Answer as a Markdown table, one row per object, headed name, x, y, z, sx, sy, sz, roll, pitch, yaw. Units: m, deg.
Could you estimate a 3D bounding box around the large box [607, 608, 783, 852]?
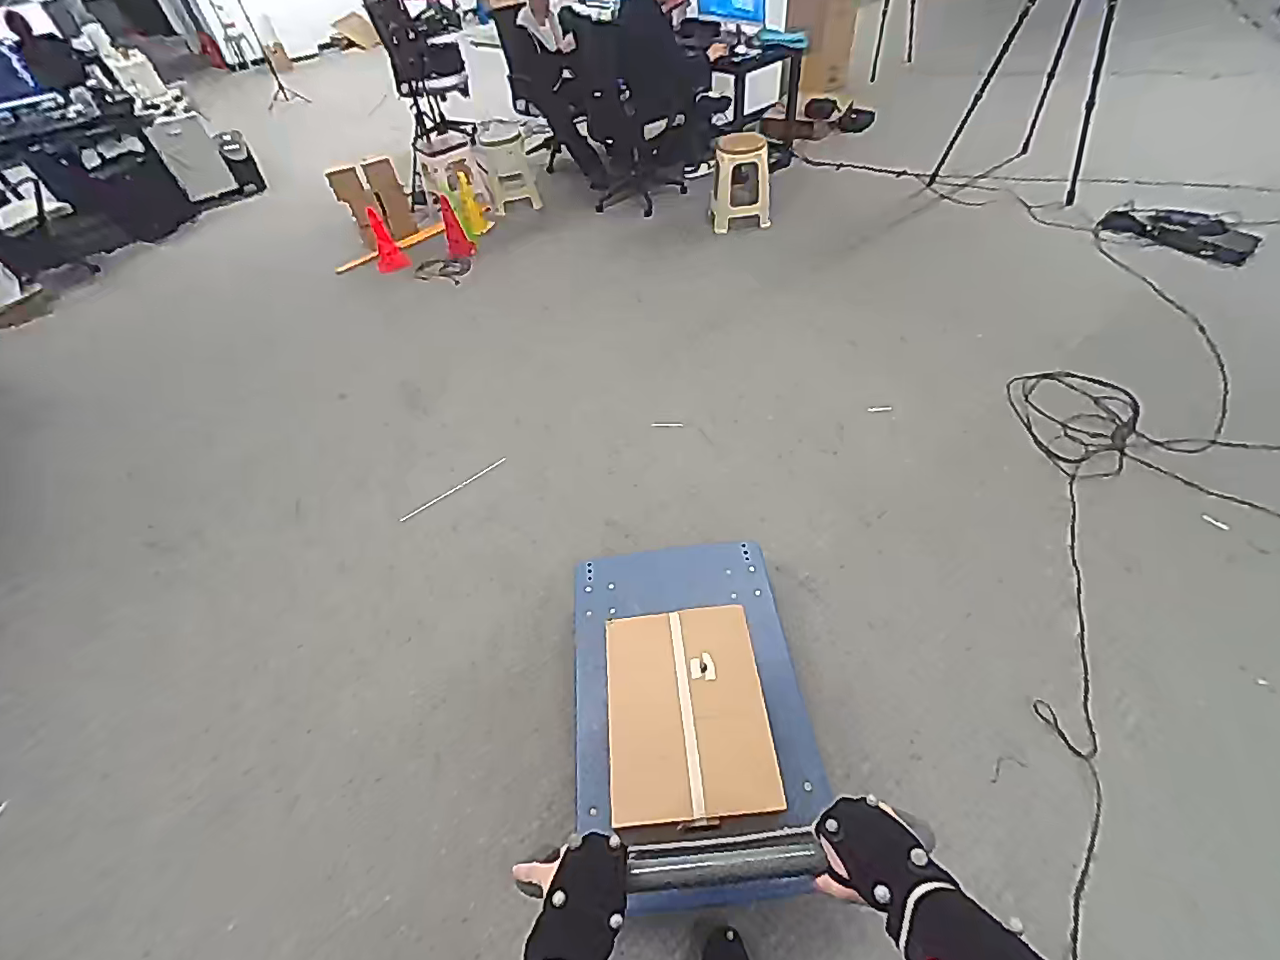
| name | x | y | z | sx | sy | sz | roll | pitch | yaw |
| --- | --- | --- | --- | --- | --- | --- | --- | --- | --- |
| large box | 0.108 | 0.556 | 1.213 | 0.320 | 0.320 | 0.408 | -7 | 47 | 2 |
